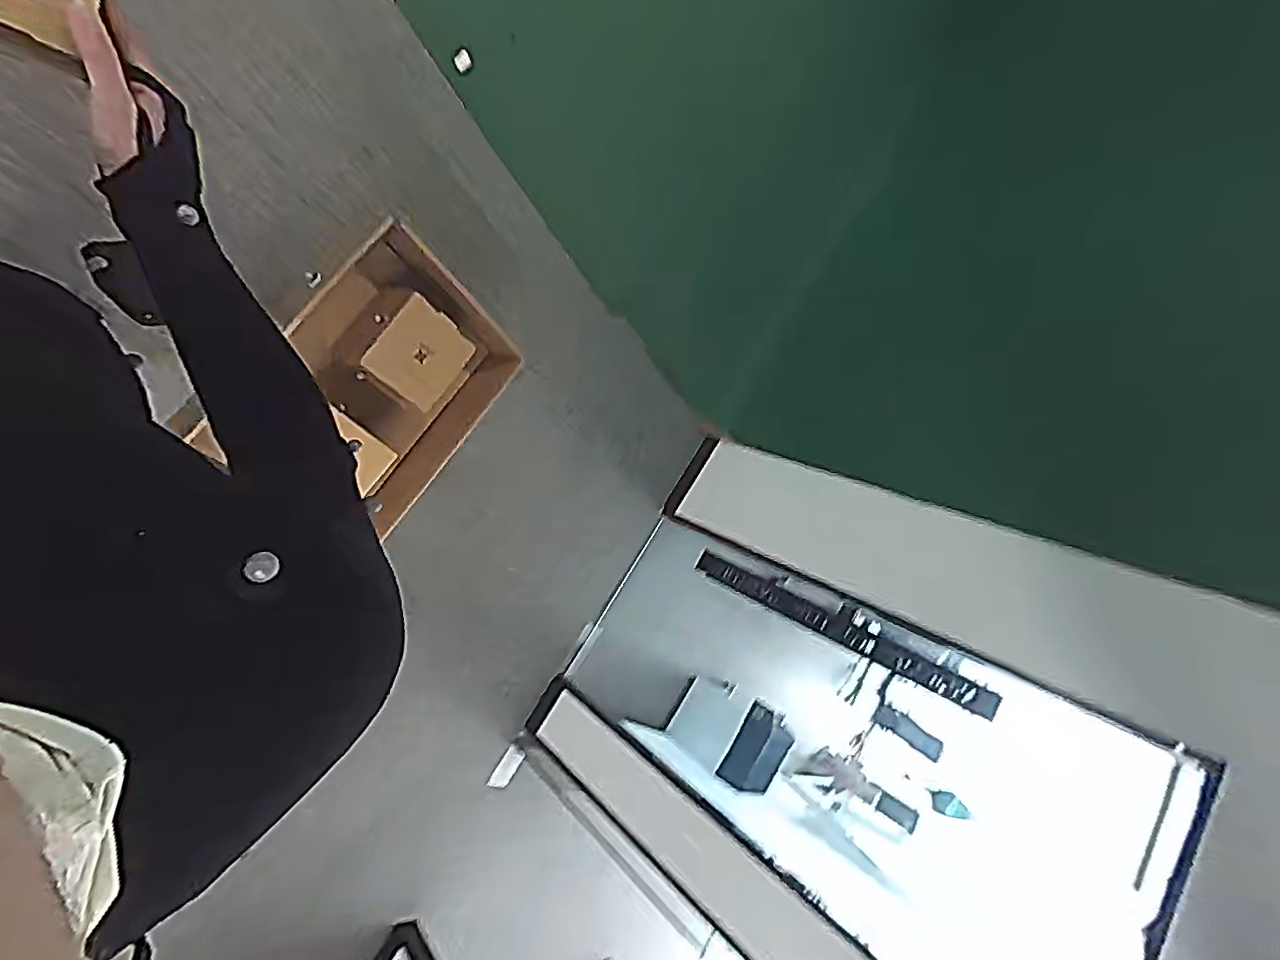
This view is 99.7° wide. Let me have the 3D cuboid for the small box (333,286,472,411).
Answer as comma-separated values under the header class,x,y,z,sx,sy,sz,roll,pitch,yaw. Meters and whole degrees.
class,x,y,z,sx,sy,sz,roll,pitch,yaw
small box,-0.490,-0.275,1.110,0.179,0.176,0.168,-55,139,-11
